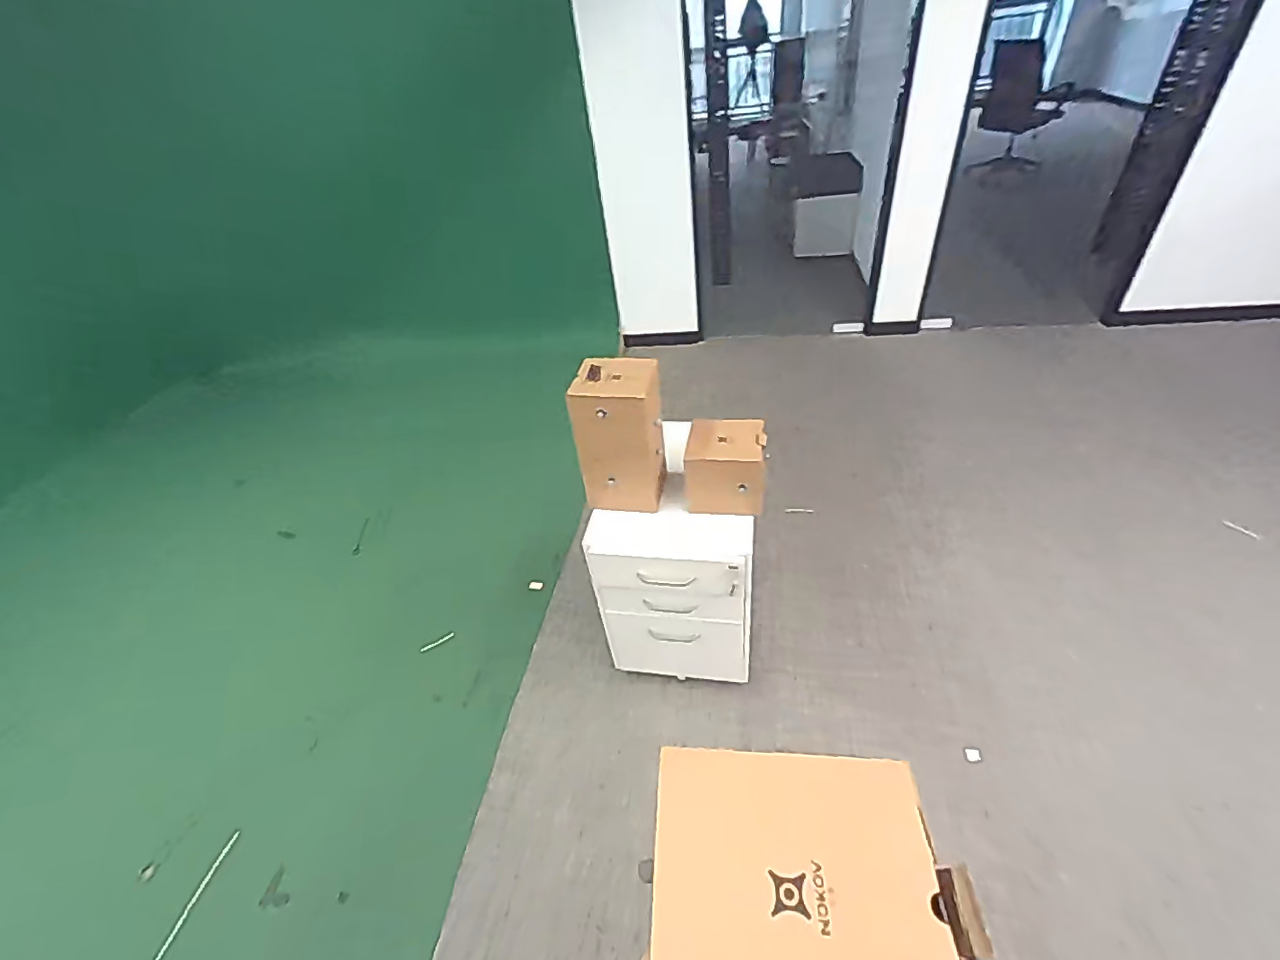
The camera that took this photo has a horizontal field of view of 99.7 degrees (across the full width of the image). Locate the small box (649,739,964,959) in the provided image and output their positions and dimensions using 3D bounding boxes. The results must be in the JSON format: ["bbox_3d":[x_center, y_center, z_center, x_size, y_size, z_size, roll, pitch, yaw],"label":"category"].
[{"bbox_3d":[0.100,0.304,0.381,0.179,0.176,0.168,1,42,5],"label":"small box"}]

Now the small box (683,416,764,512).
[{"bbox_3d":[0.205,-0.037,1.295,0.179,0.176,0.168,0,40,13],"label":"small box"}]

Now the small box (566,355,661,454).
[{"bbox_3d":[-0.052,-0.173,1.239,0.179,0.176,0.168,4,42,11],"label":"small box"}]

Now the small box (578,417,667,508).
[{"bbox_3d":[-0.036,-0.046,1.344,0.179,0.176,0.168,3,42,12],"label":"small box"}]
